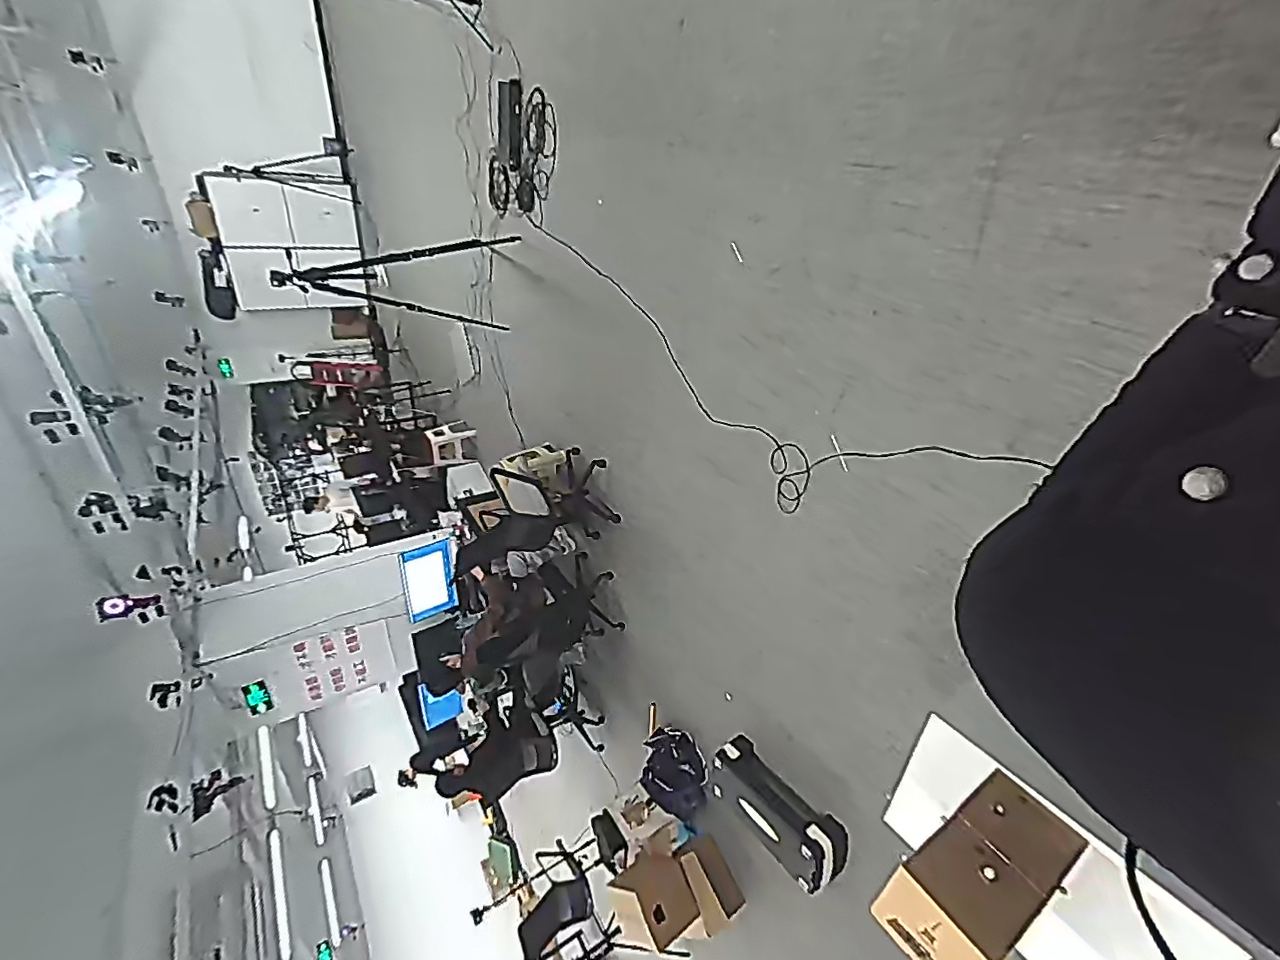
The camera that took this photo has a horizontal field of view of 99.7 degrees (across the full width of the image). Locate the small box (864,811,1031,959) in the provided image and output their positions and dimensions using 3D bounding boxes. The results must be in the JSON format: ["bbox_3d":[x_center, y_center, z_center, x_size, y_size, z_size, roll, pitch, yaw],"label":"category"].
[{"bbox_3d":[0.530,0.728,0.938,0.168,0.176,0.179,41,135,44],"label":"small box"}]

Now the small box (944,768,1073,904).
[{"bbox_3d":[0.668,0.690,1.020,0.168,0.176,0.179,40,137,45],"label":"small box"}]
